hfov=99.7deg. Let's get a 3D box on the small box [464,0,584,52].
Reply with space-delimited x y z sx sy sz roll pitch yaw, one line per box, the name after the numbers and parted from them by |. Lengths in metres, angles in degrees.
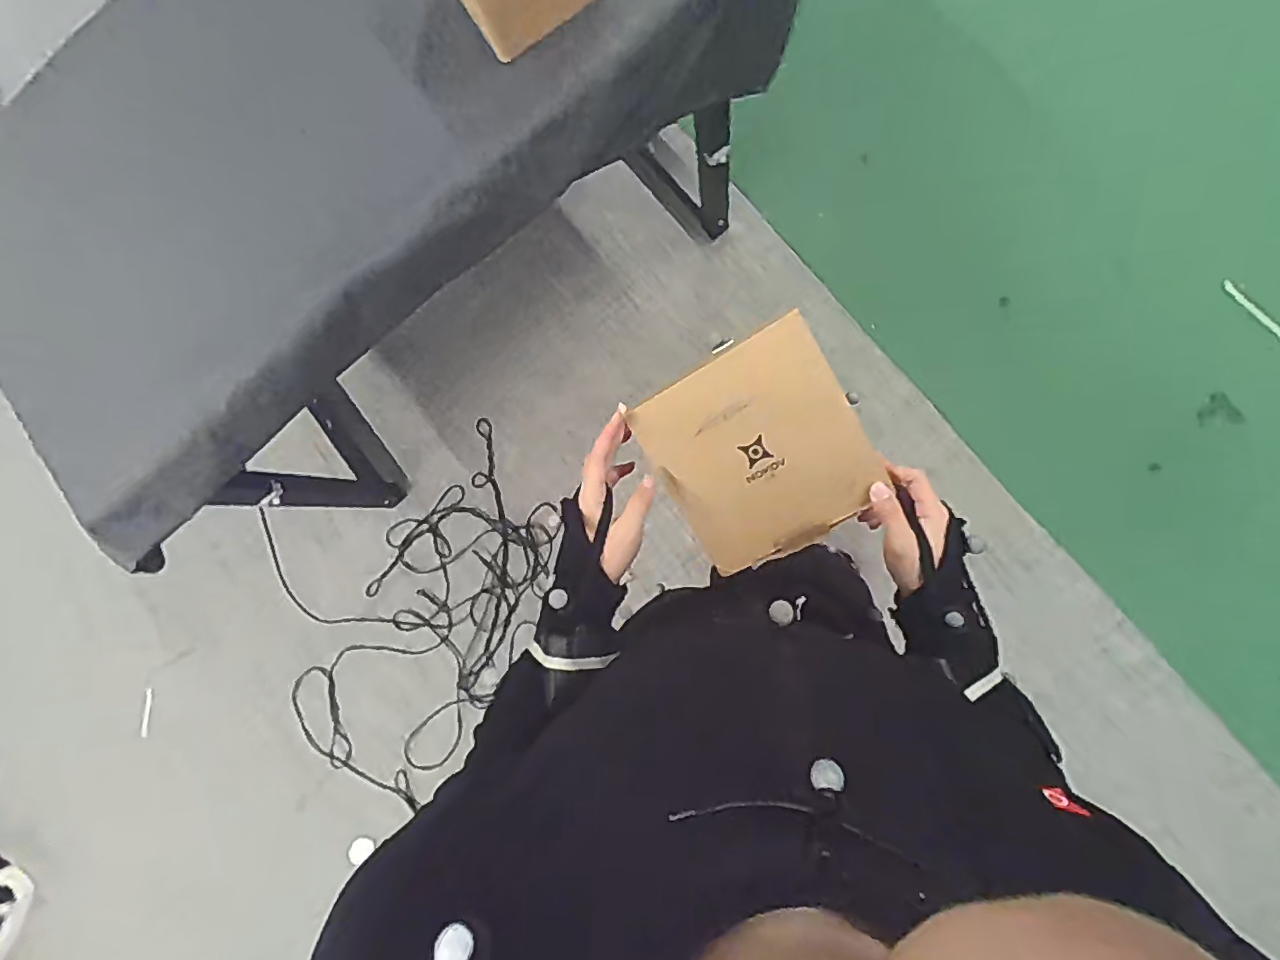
-0.164 -0.669 0.634 0.179 0.176 0.168 -32 82 5 | small box
